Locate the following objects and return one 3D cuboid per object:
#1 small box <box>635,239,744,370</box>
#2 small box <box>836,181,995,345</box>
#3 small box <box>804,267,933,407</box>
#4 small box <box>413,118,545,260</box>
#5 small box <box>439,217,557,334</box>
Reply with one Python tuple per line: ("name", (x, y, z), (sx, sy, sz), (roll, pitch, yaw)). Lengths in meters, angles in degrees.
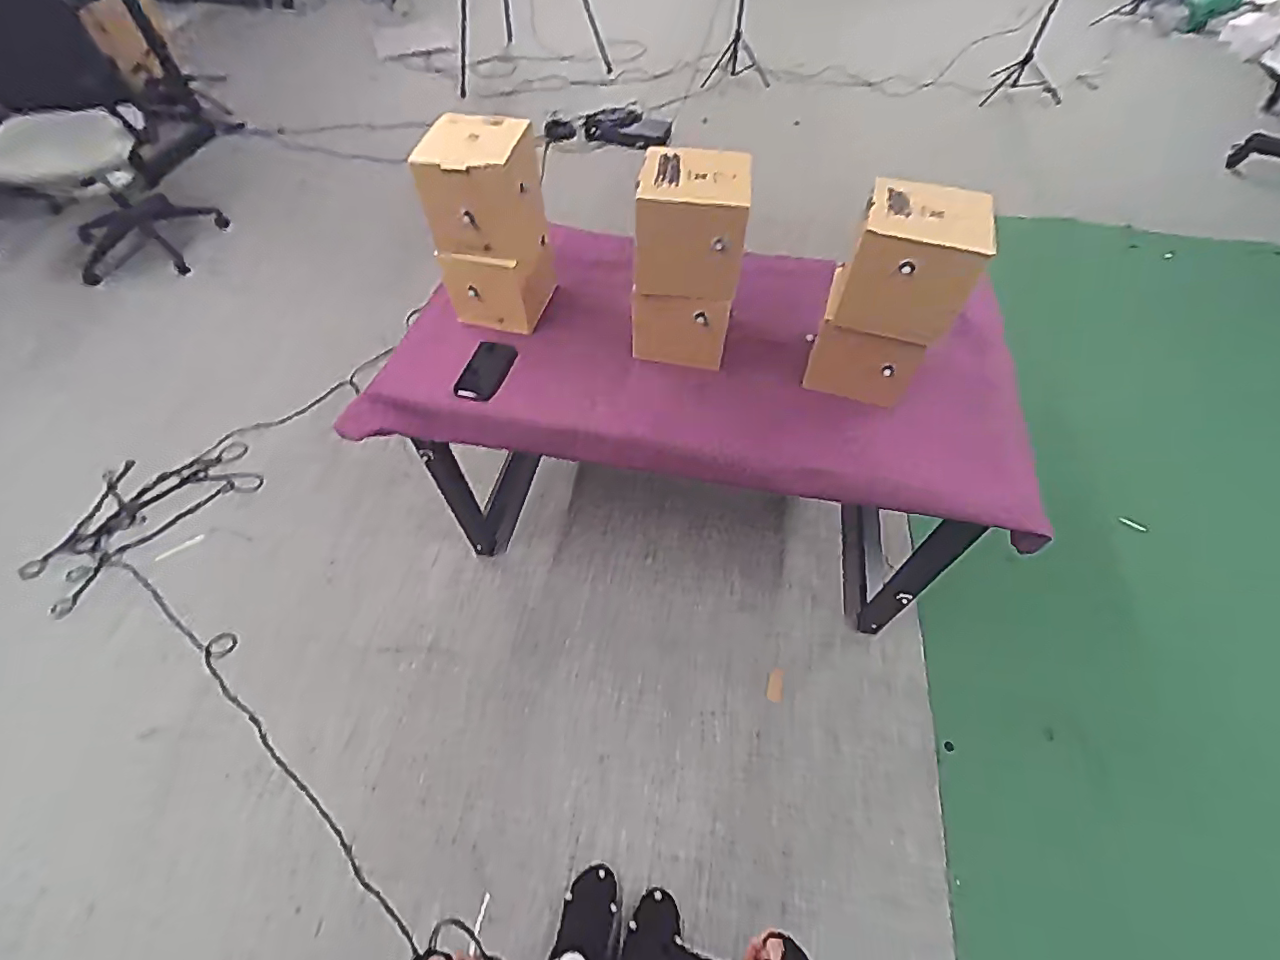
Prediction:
("small box", (0.094, -0.337, 1.053), (0.179, 0.176, 0.168), (11, 56, 8))
("small box", (0.426, -0.338, 0.855), (0.179, 0.176, 0.168), (16, 57, 11))
("small box", (0.422, -0.259, 0.999), (0.179, 0.176, 0.168), (16, 57, 12))
("small box", (-0.280, -0.527, 0.988), (0.168, 0.176, 0.179), (8, 57, 5))
("small box", (-0.280, -0.427, 1.119), (0.168, 0.176, 0.179), (12, 56, 8))
